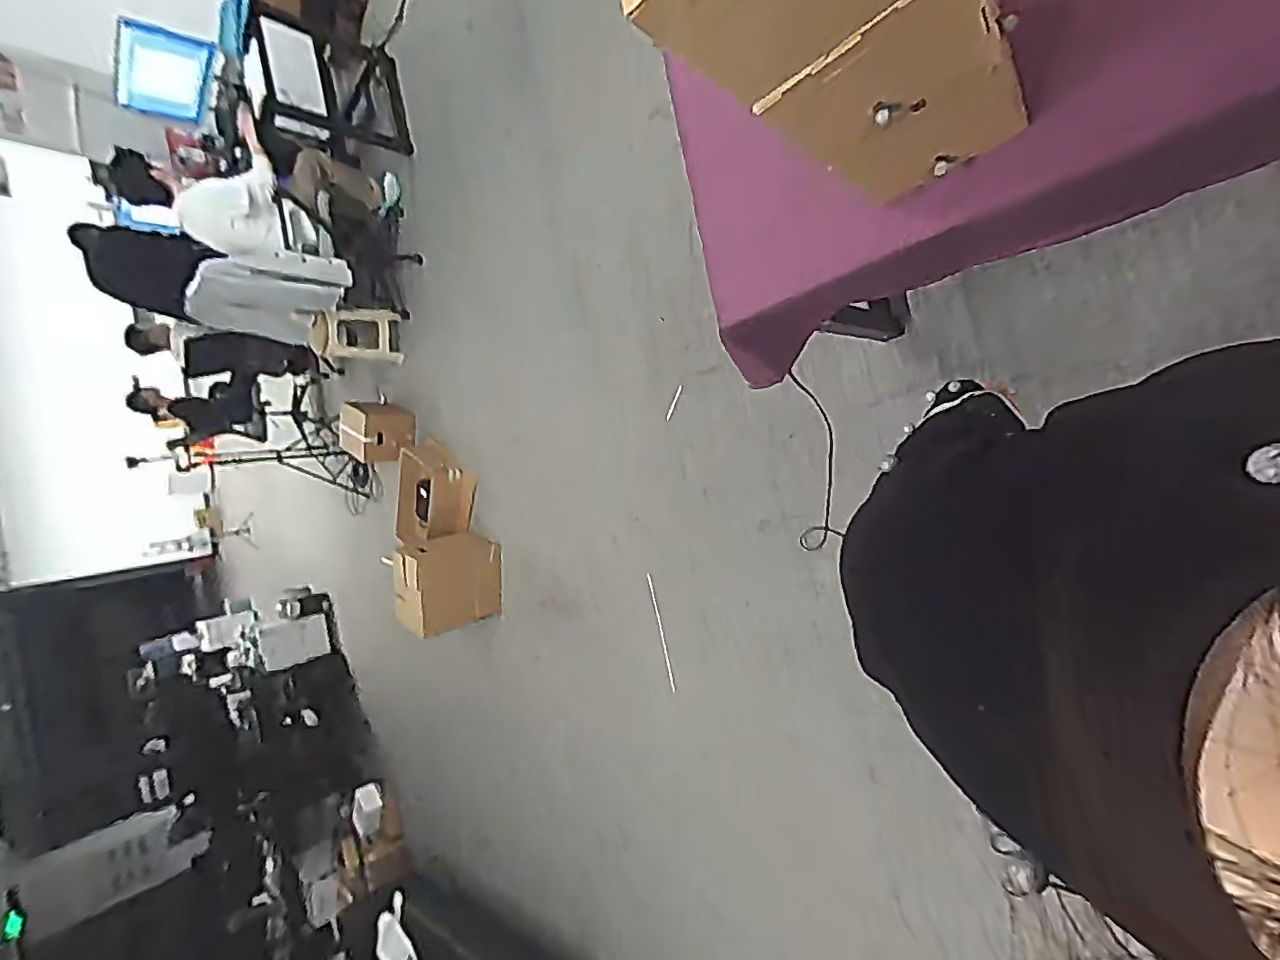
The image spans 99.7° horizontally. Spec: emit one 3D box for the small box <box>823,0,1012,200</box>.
[{"bbox_3d":[0.319,-0.470,0.641,0.179,0.176,0.168,-14,86,43],"label":"small box"}]

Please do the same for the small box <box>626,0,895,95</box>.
[{"bbox_3d":[0.096,-0.438,0.399,0.179,0.176,0.168,-10,90,43],"label":"small box"}]

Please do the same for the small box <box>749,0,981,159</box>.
[{"bbox_3d":[0.205,-0.455,0.521,0.168,0.176,0.179,-12,89,45],"label":"small box"}]
